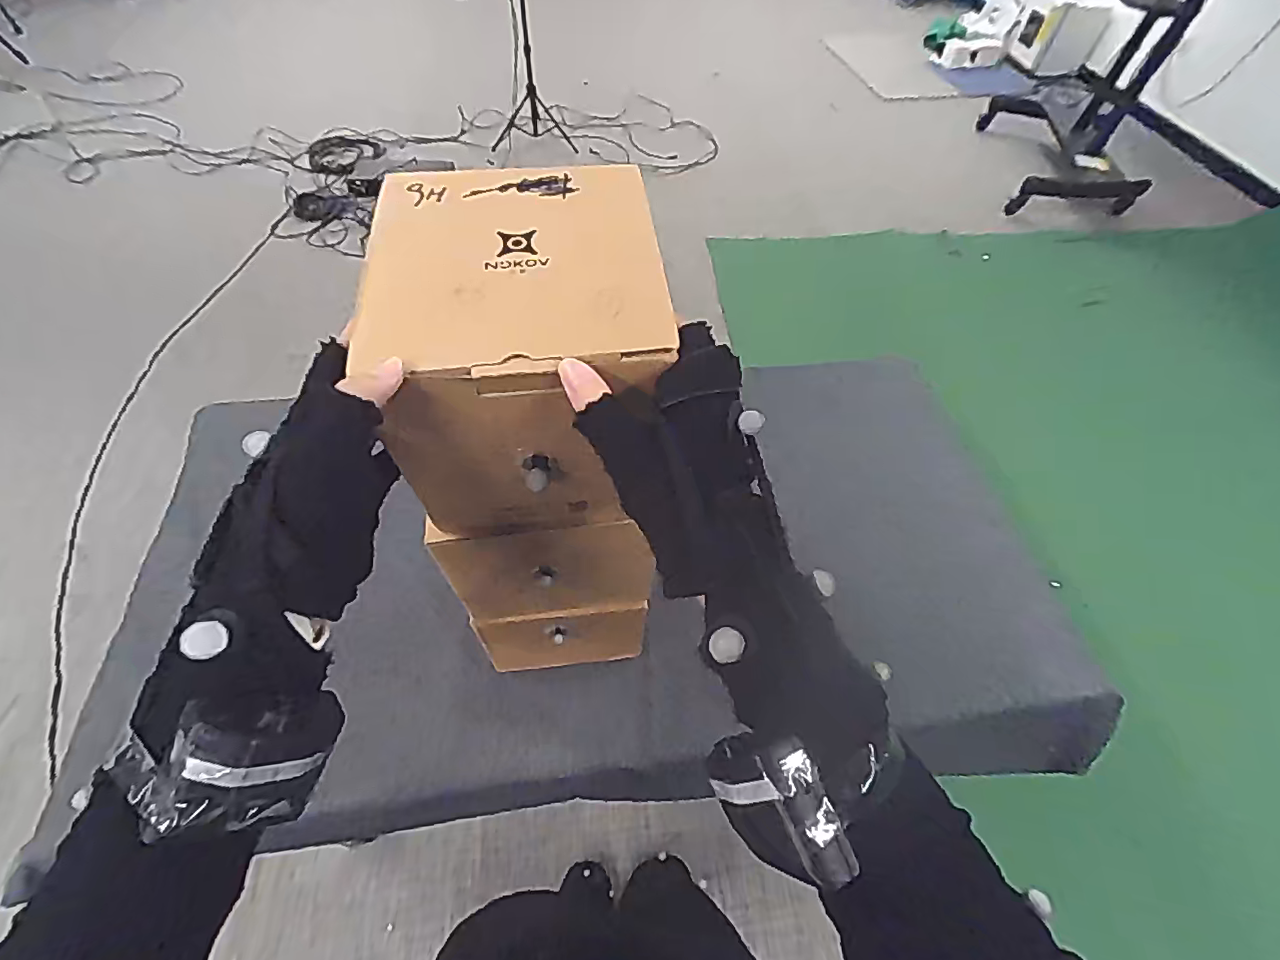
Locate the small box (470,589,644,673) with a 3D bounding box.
[{"bbox_3d":[-0.095,0.121,0.646,0.179,0.176,0.168,-4,57,-8],"label":"small box"}]

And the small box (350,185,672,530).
[{"bbox_3d":[-0.075,-0.074,0.380,0.168,0.176,0.179,-5,60,-6],"label":"small box"}]

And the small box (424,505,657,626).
[{"bbox_3d":[-0.086,0.025,0.512,0.179,0.176,0.168,-7,57,-6],"label":"small box"}]
